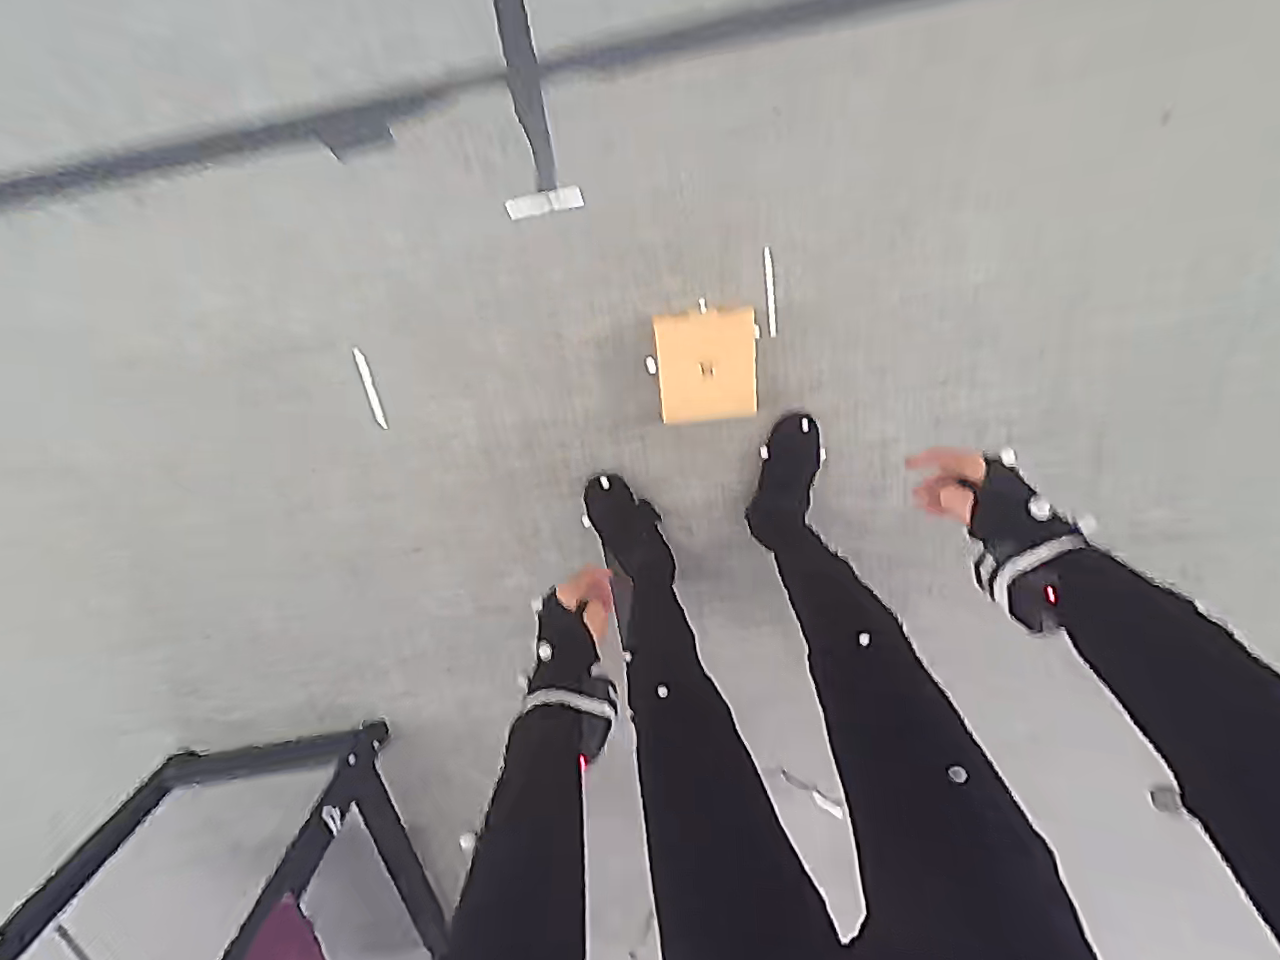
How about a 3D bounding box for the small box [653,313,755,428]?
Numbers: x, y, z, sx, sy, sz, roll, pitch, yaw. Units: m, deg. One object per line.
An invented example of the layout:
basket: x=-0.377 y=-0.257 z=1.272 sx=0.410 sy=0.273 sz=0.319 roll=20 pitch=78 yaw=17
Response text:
small box: x=0.112 y=-0.205 z=0.992 sx=0.168 sy=0.176 sz=0.179 roll=-6 pitch=109 yaw=1
